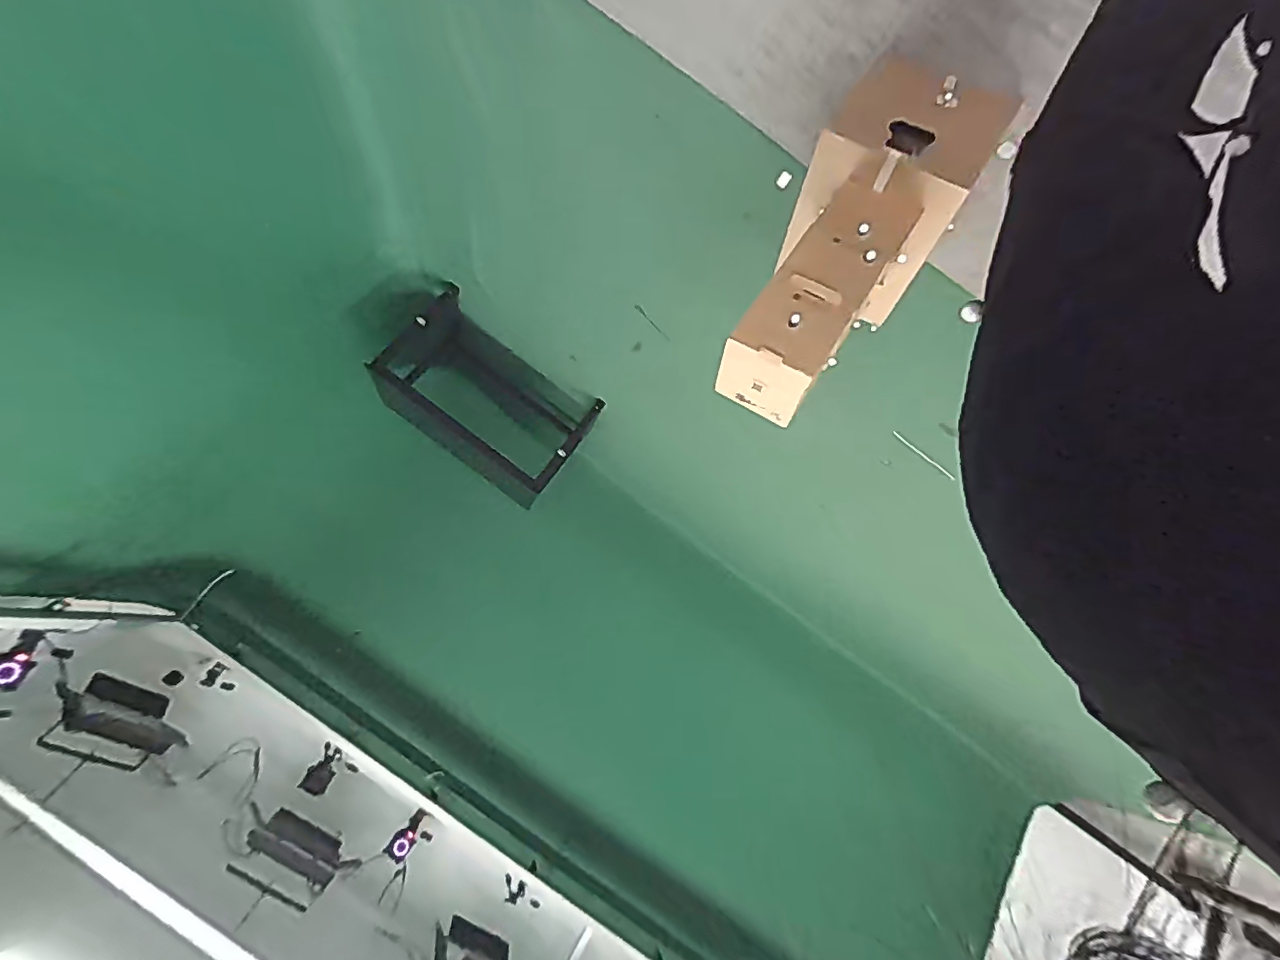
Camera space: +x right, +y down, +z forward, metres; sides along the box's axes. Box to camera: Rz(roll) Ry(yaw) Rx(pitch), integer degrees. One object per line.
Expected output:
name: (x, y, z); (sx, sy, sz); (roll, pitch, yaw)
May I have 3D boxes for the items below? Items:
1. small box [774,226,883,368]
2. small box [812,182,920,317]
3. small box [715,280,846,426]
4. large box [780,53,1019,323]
small box: (0.359, -0.367, 1.083); (0.168, 0.176, 0.179); (31, 160, 13)
small box: (0.452, -0.488, 1.142); (0.179, 0.176, 0.168); (32, 159, 12)
small box: (0.266, -0.242, 1.029); (0.168, 0.176, 0.179); (32, 158, 12)
large box: (0.576, -0.664, 1.266); (0.320, 0.320, 0.408); (33, 161, 13)
